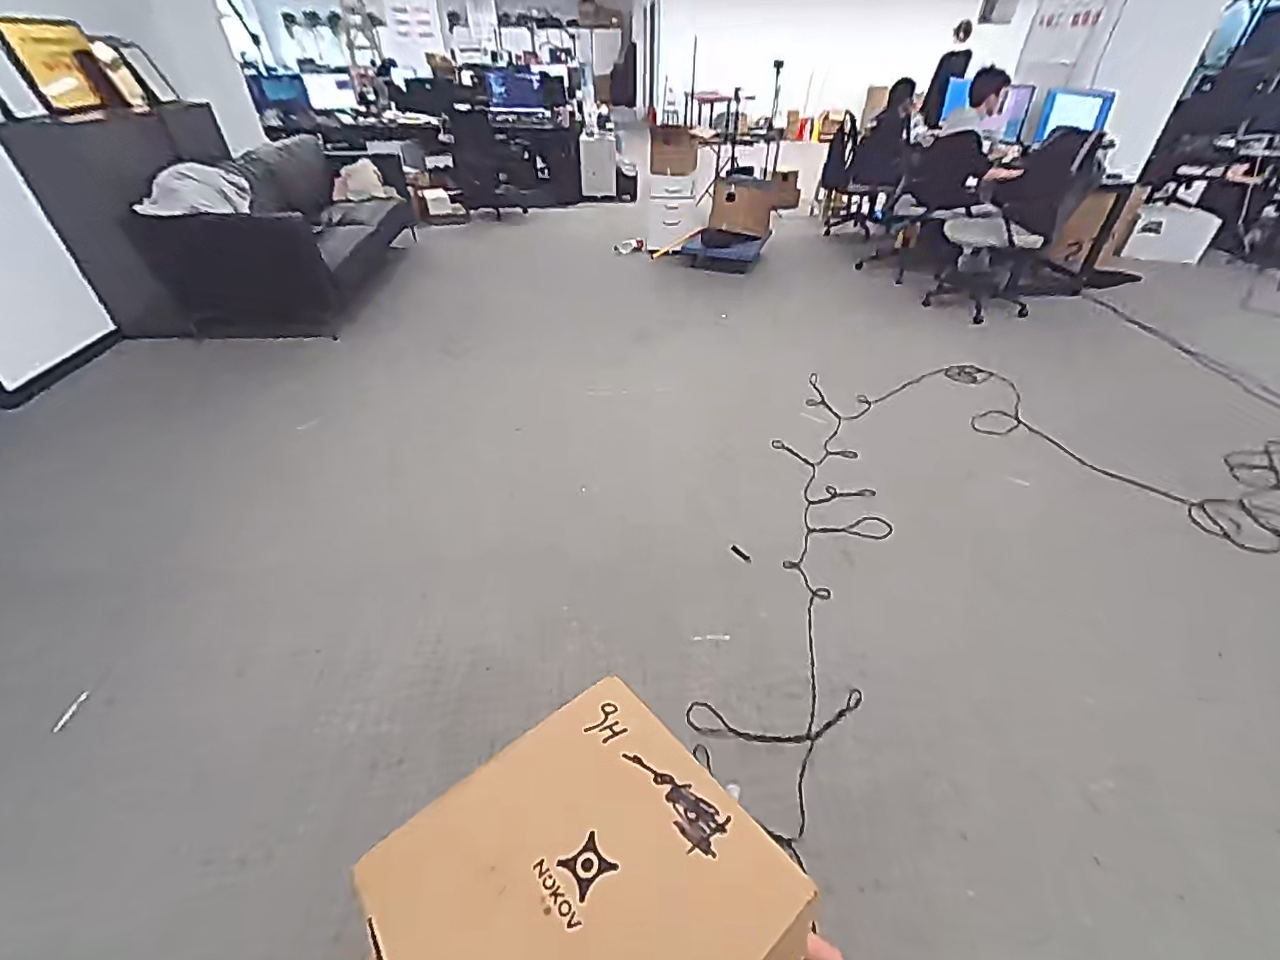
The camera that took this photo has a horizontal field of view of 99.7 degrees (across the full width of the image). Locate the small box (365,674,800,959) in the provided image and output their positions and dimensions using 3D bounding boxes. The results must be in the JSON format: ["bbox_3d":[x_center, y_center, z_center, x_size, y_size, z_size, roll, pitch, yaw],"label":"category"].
[{"bbox_3d":[-0.025,0.266,0.324,0.179,0.176,0.168,-29,40,-29],"label":"small box"}]
